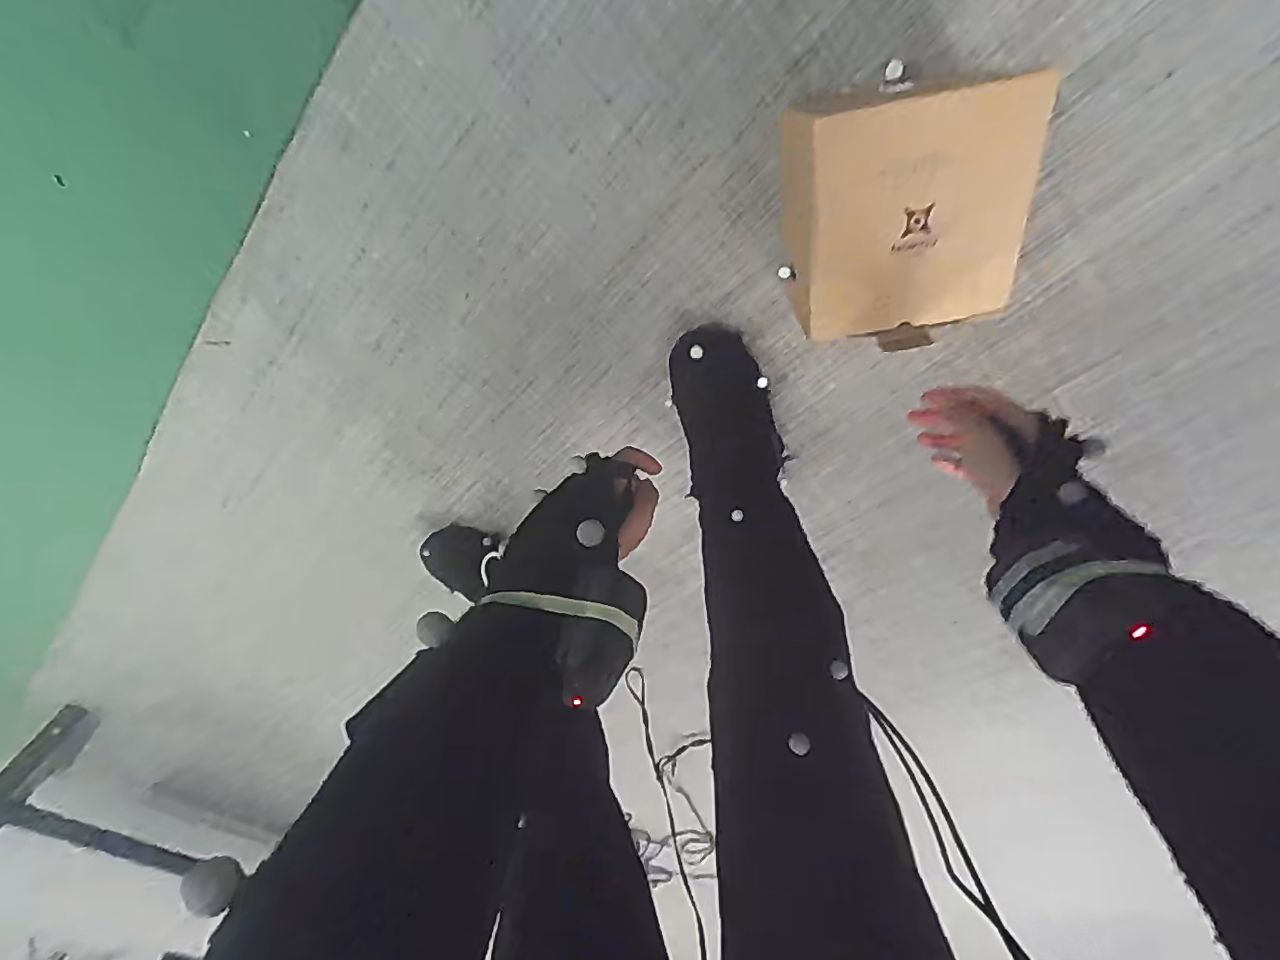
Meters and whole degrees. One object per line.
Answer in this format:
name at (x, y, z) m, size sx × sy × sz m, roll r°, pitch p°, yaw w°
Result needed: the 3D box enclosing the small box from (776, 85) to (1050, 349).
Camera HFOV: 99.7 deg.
small box at (0.221, -0.243, 0.496) m, size 0.168 × 0.176 × 0.179 m, roll -7°, pitch 125°, yaw 8°
